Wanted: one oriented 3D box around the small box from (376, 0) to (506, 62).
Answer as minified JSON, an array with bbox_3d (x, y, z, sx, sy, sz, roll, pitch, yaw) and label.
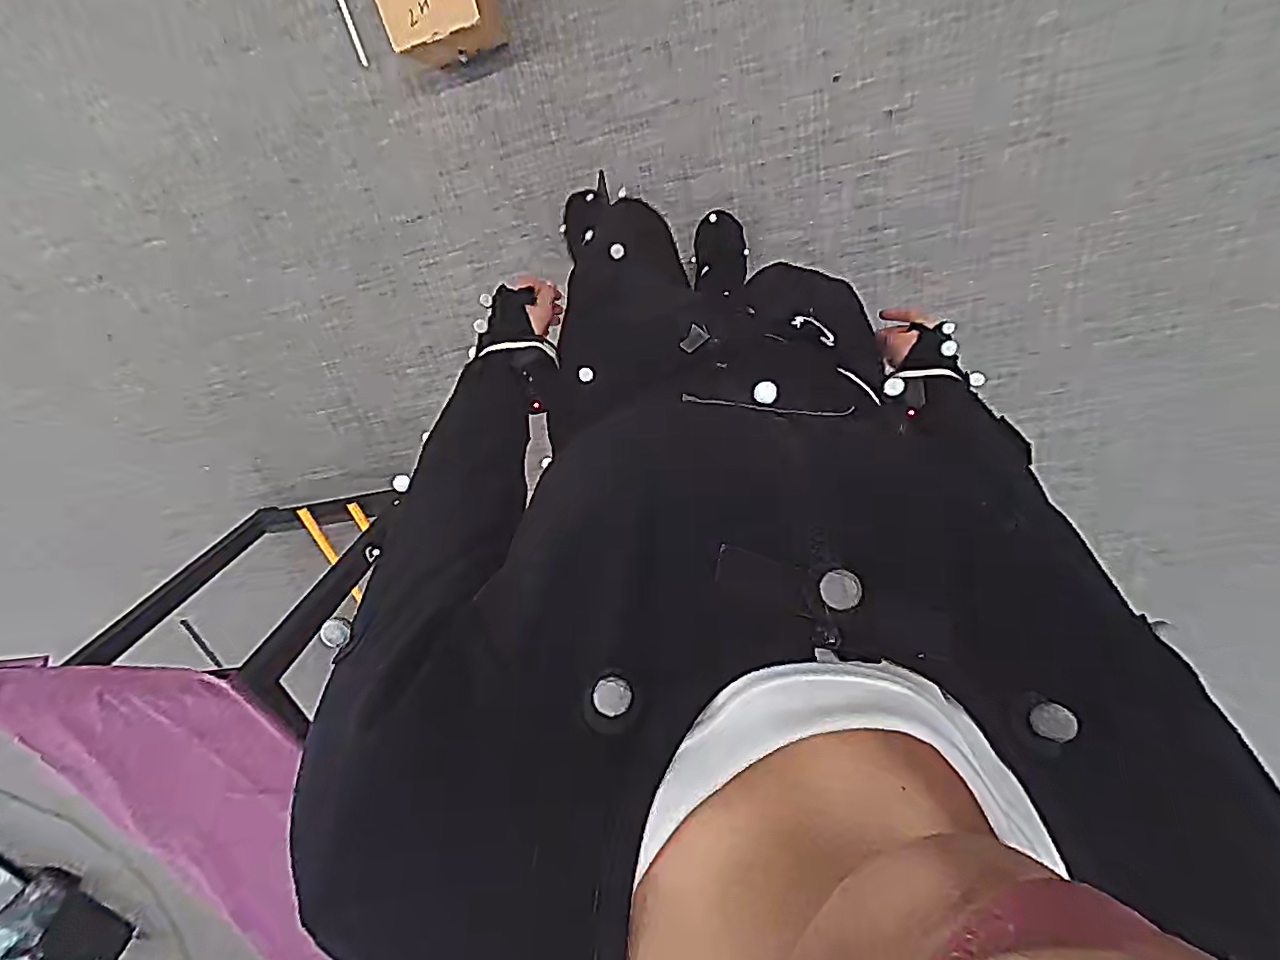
[{"bbox_3d":[-0.353,-0.858,0.927,0.168,0.176,0.179,-10,119,11],"label":"small box"}]
